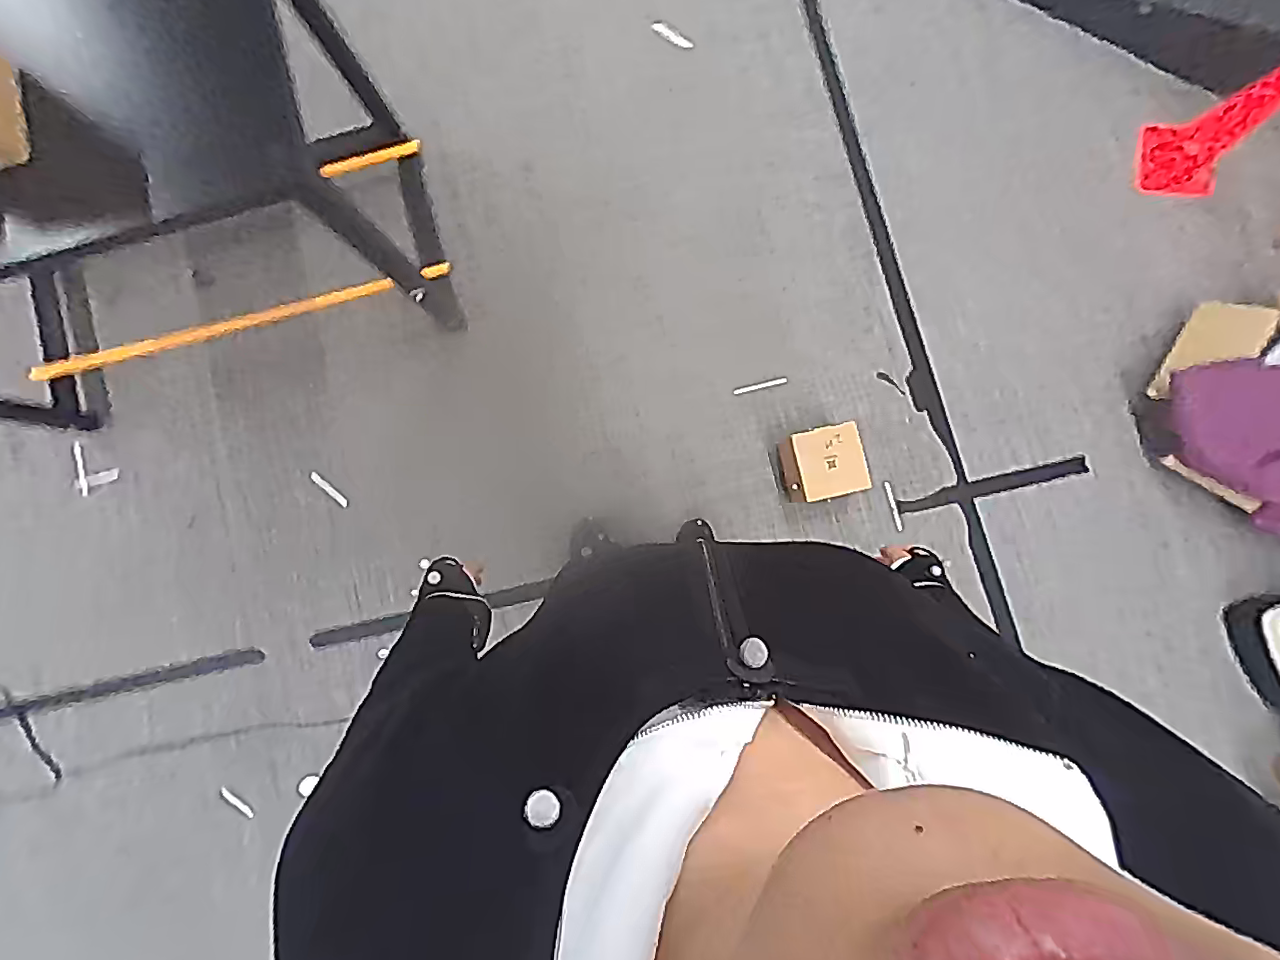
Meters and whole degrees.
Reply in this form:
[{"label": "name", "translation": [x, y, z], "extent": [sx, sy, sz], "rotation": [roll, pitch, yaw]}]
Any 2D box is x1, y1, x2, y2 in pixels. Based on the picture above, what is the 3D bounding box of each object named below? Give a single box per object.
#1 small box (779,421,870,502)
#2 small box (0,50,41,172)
[{"label": "small box", "translation": [0.478, -0.043, 1.426], "extent": [0.168, 0.176, 0.179], "rotation": [-13, 85, 1]}, {"label": "small box", "translation": [-1.070, -0.588, 0.806], "extent": [0.168, 0.176, 0.179], "rotation": [-13, 86, 3]}]
